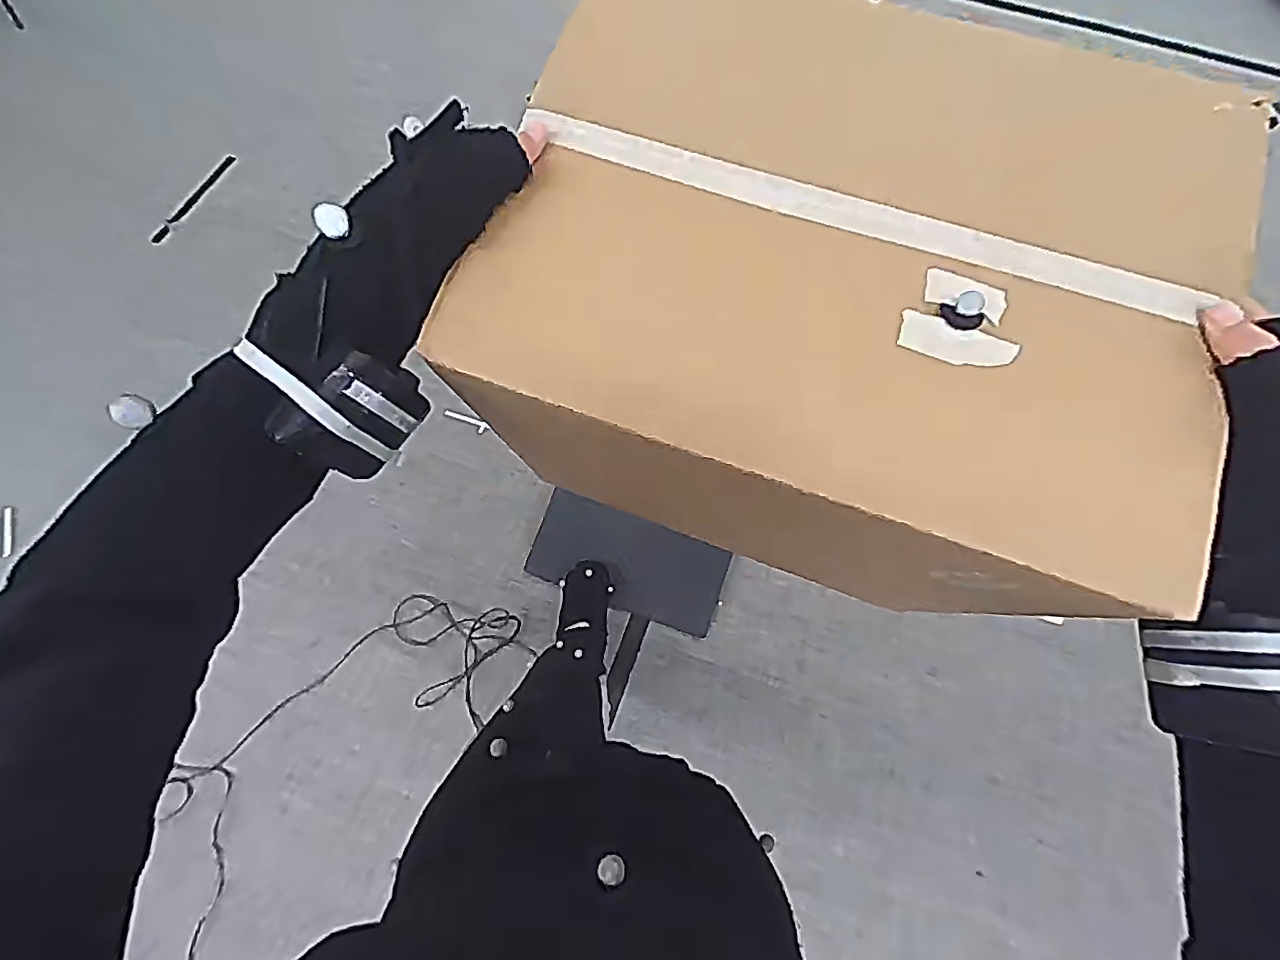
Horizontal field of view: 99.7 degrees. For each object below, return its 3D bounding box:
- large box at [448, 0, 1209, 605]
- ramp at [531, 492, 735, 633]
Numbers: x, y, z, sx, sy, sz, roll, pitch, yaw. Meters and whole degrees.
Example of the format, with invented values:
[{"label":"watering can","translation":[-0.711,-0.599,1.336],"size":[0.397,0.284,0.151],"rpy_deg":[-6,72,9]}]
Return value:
[{"label":"large box","translation":[0.124,-0.105,0.471],"size":[0.408,0.320,0.320],"rpy_deg":[20,79,6]},{"label":"ramp","translation":[0.110,-0.150,1.447],"size":[0.509,0.206,0.991],"rpy_deg":[18,71,4]}]
